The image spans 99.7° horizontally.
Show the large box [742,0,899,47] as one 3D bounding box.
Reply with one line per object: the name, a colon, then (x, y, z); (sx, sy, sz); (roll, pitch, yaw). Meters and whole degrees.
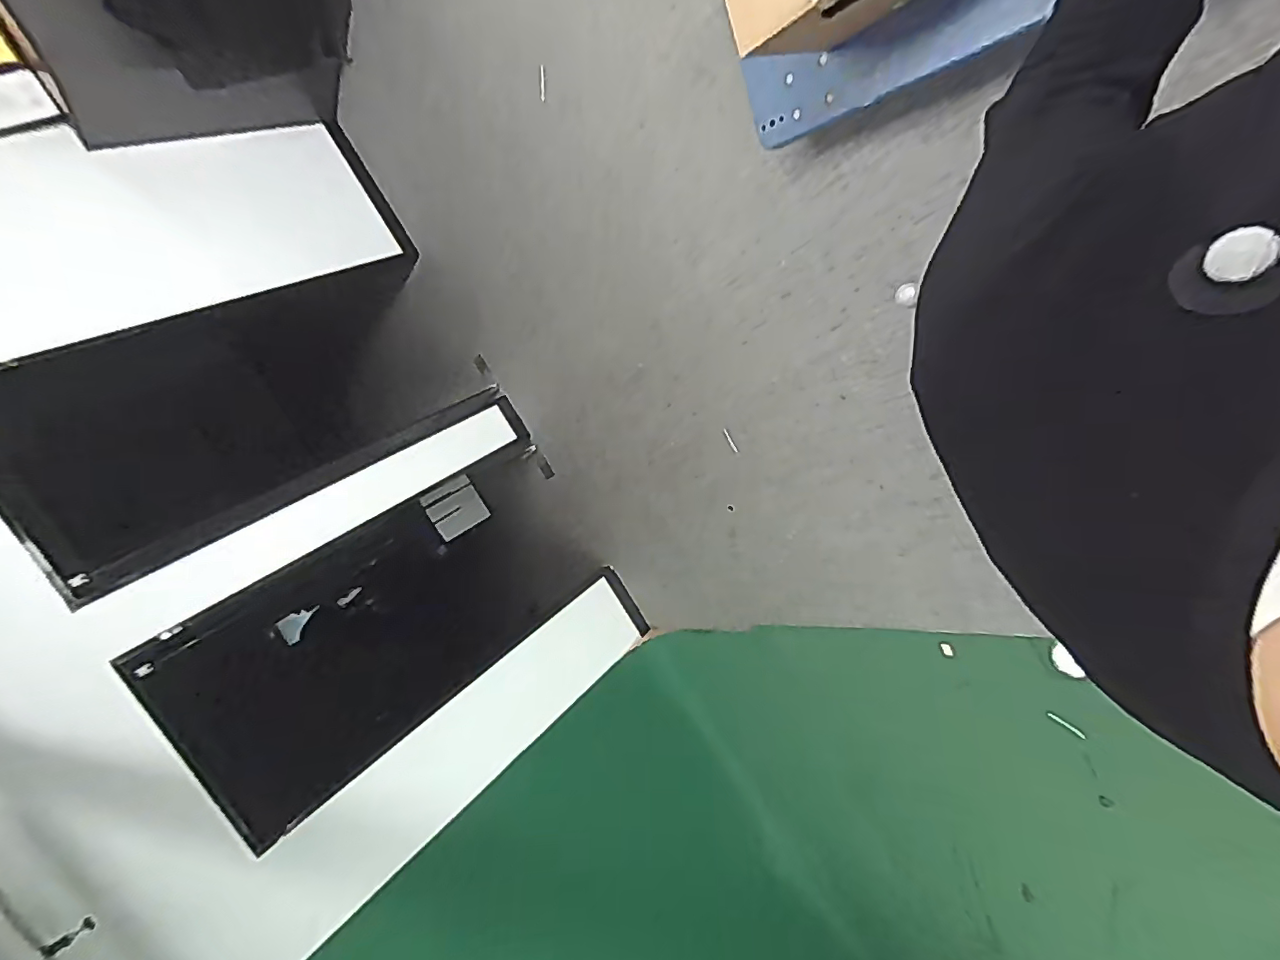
large box: (0.320, -0.977, 0.825); (0.320, 0.320, 0.408); (2, 121, 50)
